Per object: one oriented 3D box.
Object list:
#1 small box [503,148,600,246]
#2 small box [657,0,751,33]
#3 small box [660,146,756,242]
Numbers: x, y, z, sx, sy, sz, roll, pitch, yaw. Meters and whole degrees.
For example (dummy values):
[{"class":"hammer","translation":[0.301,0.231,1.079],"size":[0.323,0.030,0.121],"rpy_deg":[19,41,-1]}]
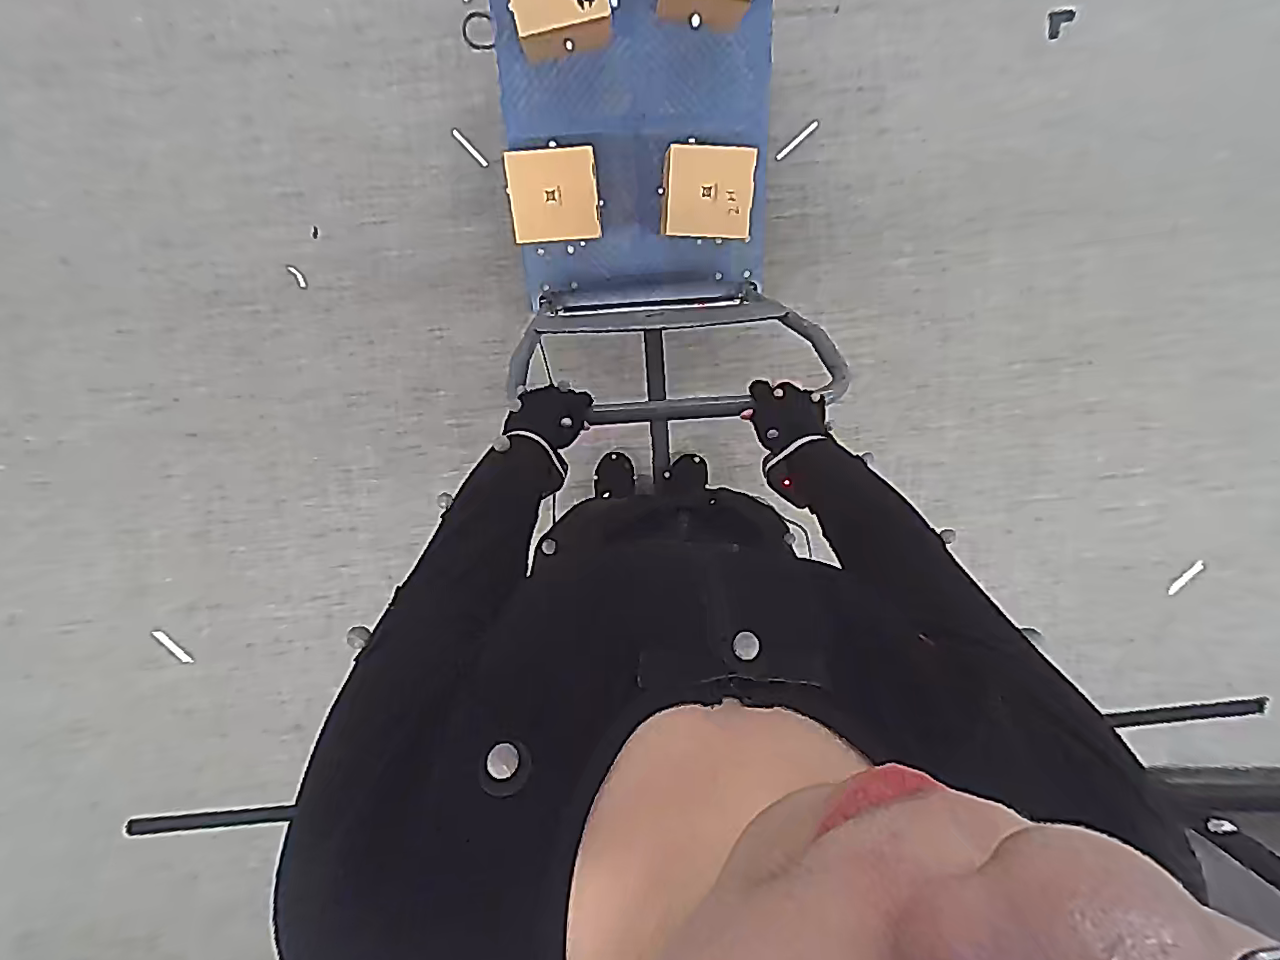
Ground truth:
[{"class":"small box","translation":[-0.181,-0.596,1.155],"size":[0.179,0.176,0.168],"rpy_deg":[-6,114,-2]},{"class":"small box","translation":[0.128,-0.979,1.004],"size":[0.168,0.176,0.179],"rpy_deg":[6,114,-6]},{"class":"small box","translation":[0.137,-0.608,1.166],"size":[0.179,0.176,0.168],"rpy_deg":[1,114,-3]}]
